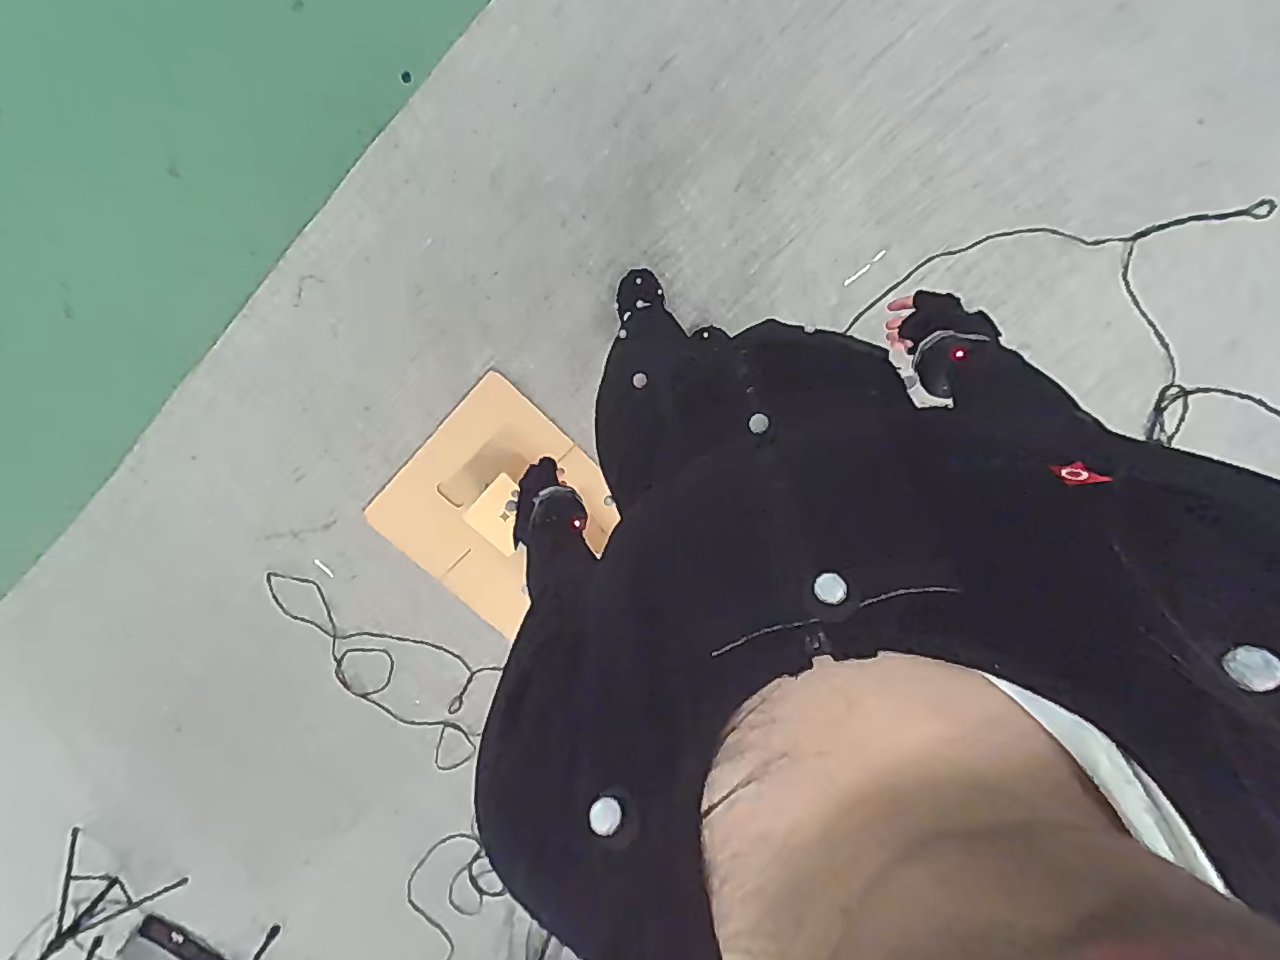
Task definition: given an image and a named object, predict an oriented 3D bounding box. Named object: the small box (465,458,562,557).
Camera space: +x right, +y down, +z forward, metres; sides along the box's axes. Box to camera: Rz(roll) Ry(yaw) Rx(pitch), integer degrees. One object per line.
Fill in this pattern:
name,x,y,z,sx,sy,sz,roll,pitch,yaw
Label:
small box,-0.329,0.068,1.455,0.168,0.176,0.179,42,104,-10
